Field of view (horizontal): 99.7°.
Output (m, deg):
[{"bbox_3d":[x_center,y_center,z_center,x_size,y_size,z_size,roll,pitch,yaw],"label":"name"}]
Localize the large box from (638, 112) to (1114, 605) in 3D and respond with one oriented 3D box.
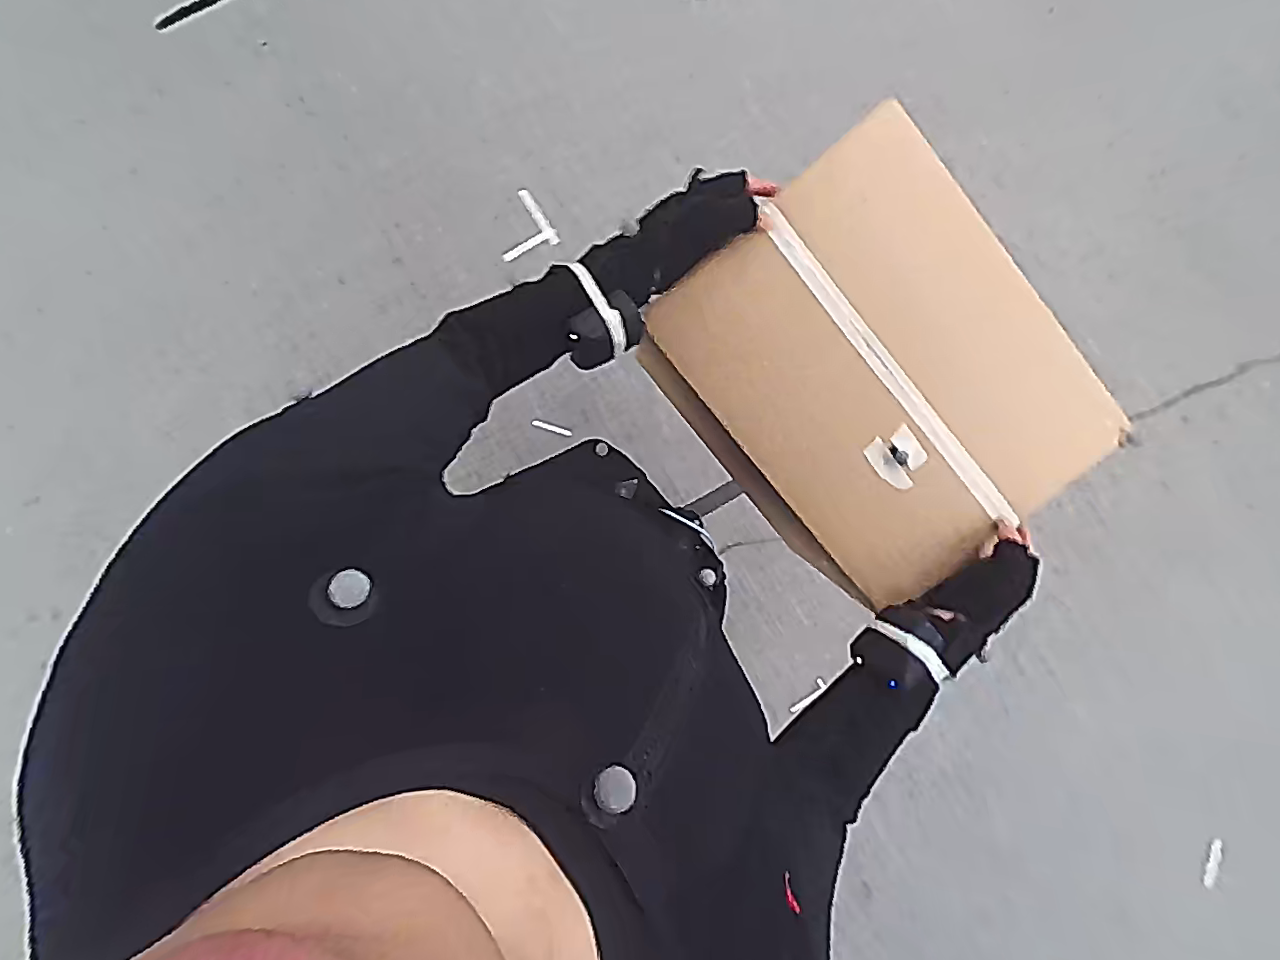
[{"bbox_3d":[0.240,-0.128,0.690,0.320,0.320,0.408,-40,96,5],"label":"large box"}]
